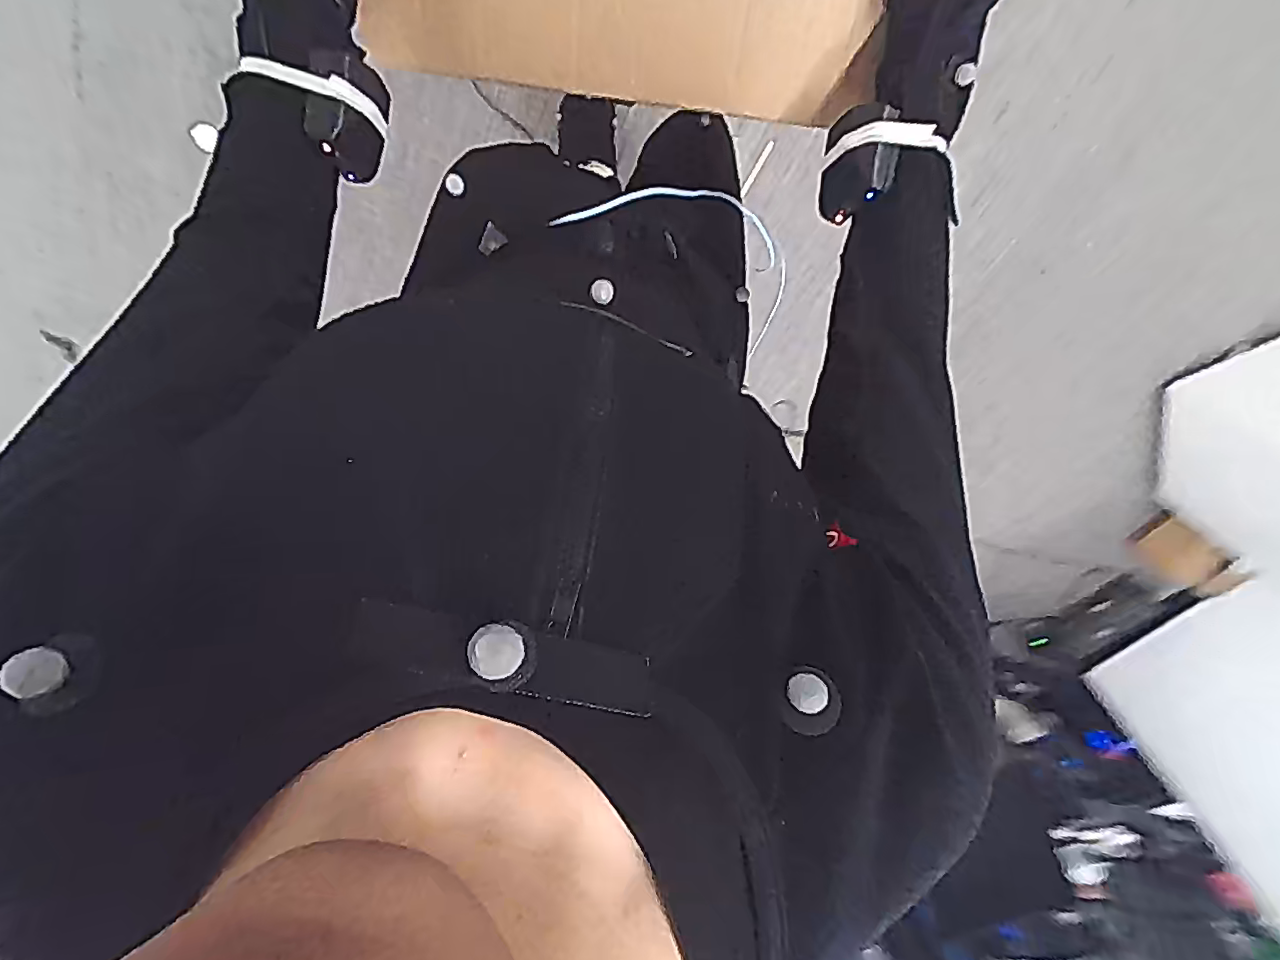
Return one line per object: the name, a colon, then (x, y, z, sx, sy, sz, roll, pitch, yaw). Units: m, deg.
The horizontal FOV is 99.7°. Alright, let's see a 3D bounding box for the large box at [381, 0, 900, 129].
large box: (0.010, -0.527, 0.467, 0.408, 0.320, 0.320, 6, 132, -1)
